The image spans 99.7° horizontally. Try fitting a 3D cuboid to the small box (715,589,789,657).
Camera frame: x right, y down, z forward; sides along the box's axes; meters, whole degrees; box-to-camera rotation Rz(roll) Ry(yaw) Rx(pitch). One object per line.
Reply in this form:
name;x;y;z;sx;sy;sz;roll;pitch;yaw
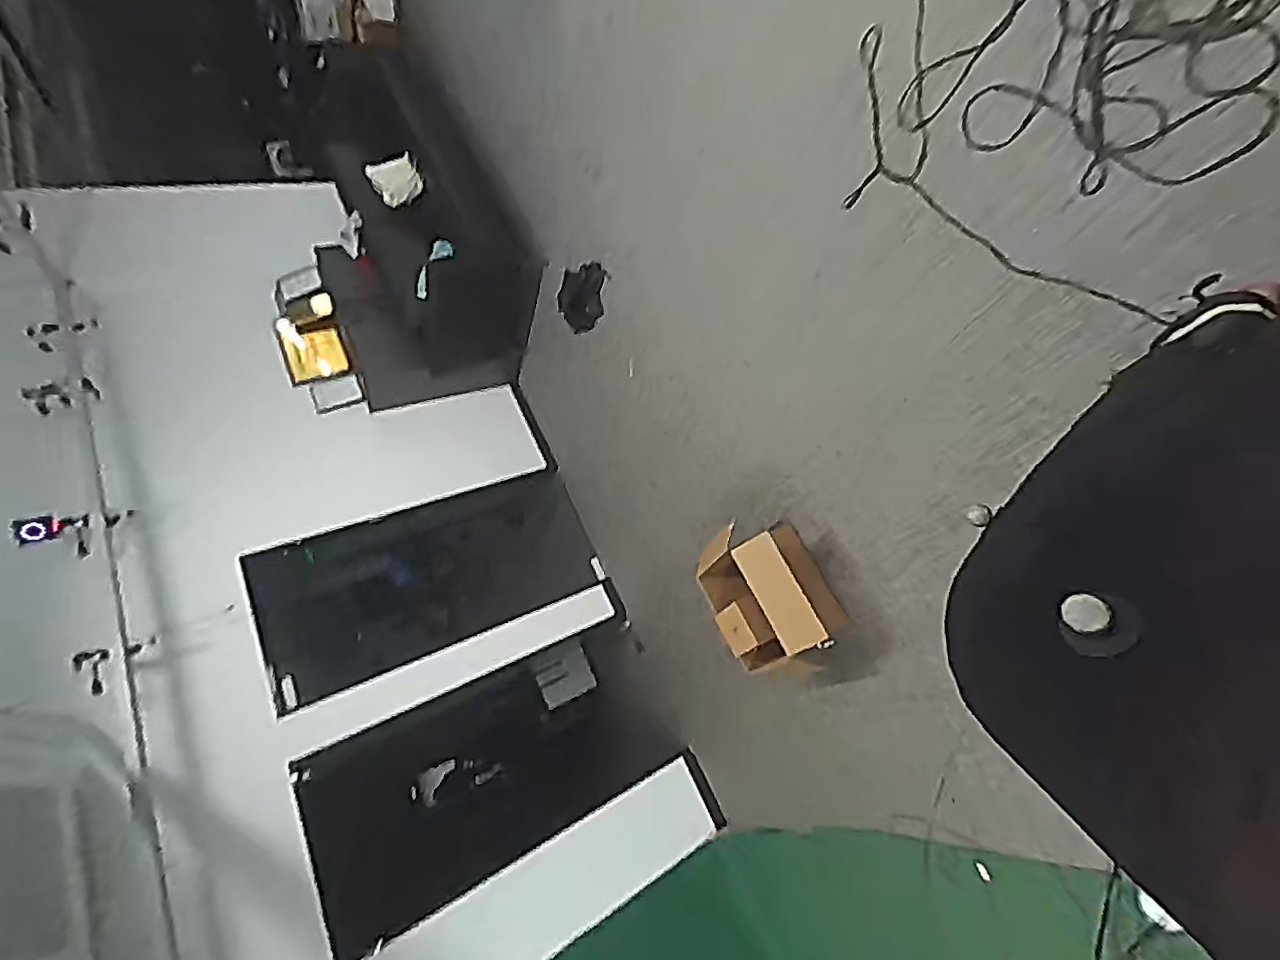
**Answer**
small box;0.411;0.522;1.977;0.168;0.176;0.179;62;149;21
